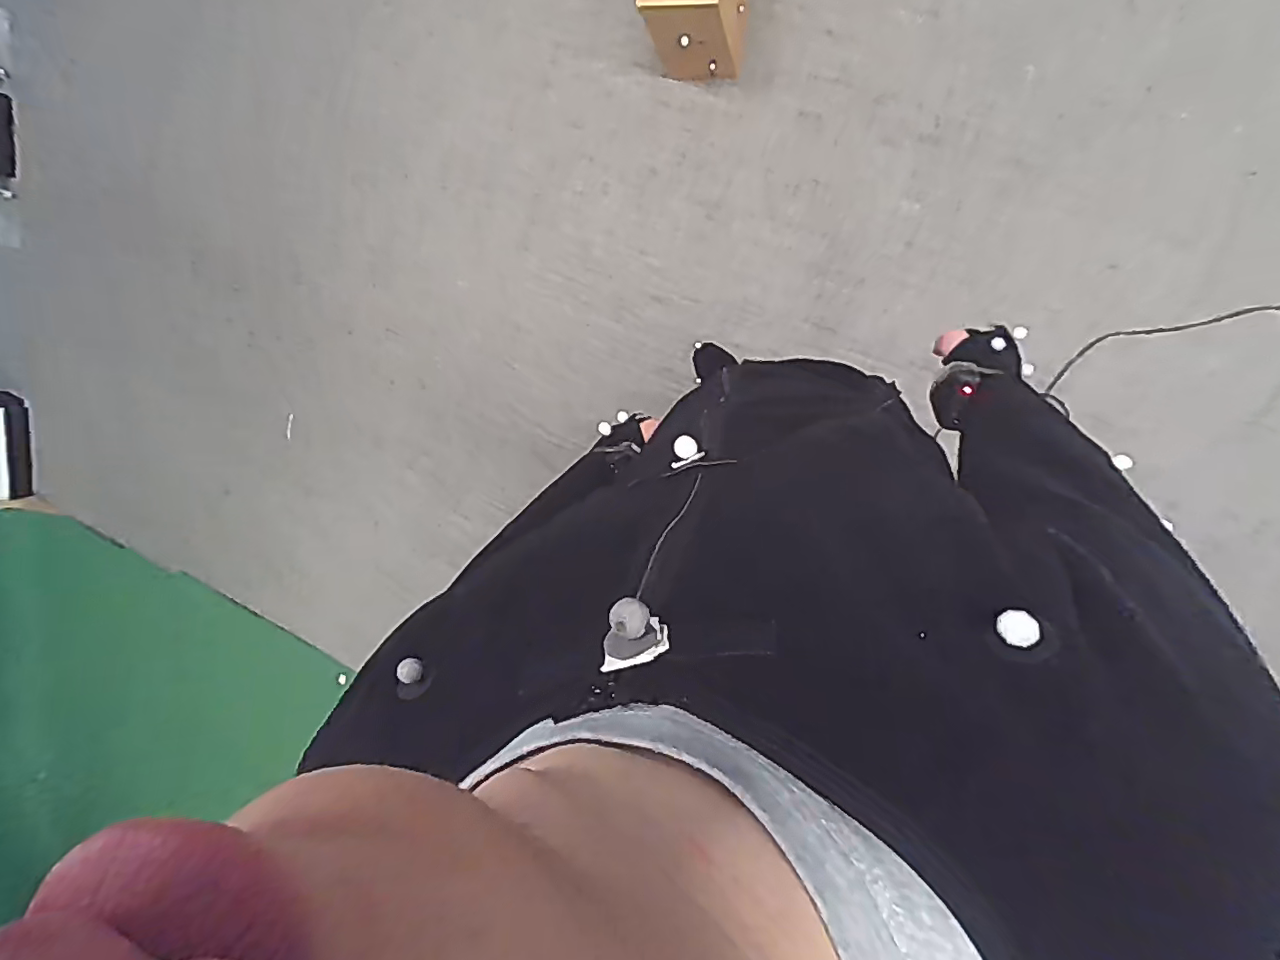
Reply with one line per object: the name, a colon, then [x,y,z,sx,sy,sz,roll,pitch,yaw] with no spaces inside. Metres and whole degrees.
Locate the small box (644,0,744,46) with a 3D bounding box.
small box: [0.116,-1.003,1.070,0.168,0.176,0.179,12,109,15]

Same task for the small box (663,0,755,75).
small box: [0.161,-1.048,1.222,0.168,0.176,0.179,11,106,15]
